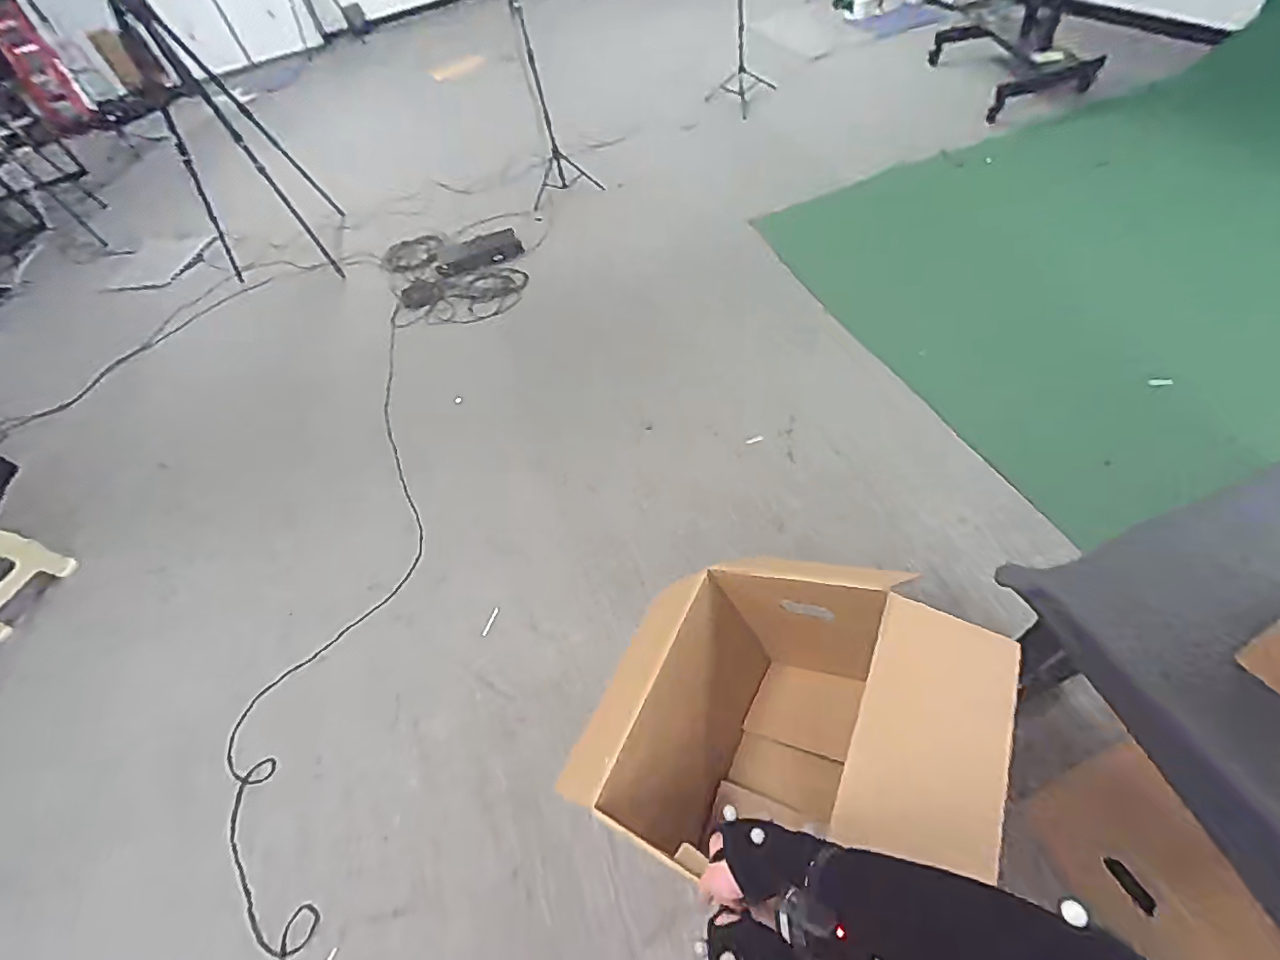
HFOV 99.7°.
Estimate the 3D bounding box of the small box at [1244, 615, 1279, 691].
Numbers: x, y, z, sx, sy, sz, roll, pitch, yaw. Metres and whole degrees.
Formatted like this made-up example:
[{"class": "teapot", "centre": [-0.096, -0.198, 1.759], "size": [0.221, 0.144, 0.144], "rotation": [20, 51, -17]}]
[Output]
[{"class": "small box", "centre": [0.852, 0.195, 0.597], "size": [0.179, 0.176, 0.168], "rotation": [-27, 55, -12]}]
